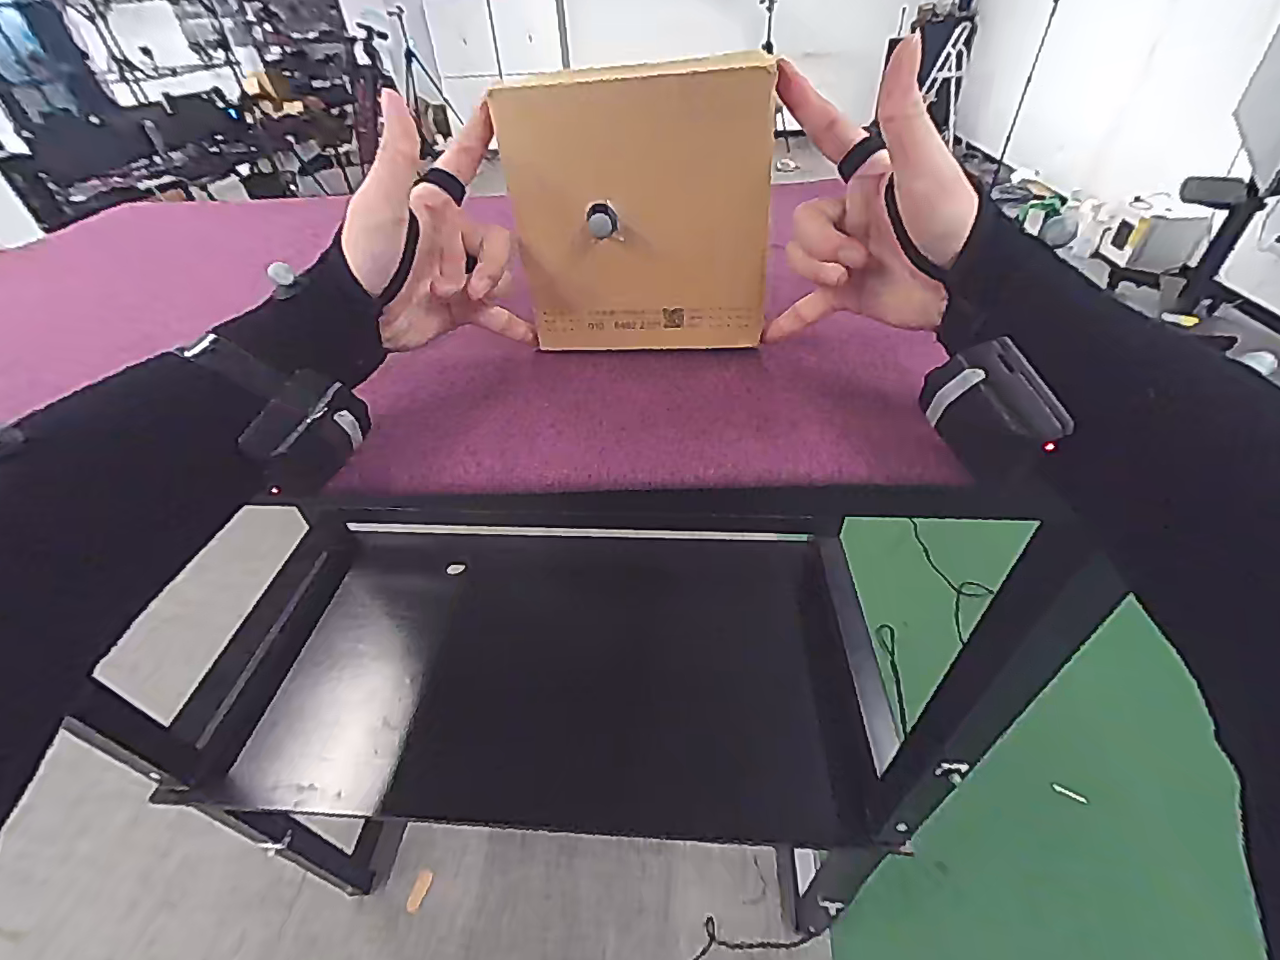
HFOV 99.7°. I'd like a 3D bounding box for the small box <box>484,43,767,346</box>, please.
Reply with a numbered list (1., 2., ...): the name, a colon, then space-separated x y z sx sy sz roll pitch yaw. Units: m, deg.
1. small box: 0.008 -0.211 0.410 0.168 0.176 0.179 1 39 9
